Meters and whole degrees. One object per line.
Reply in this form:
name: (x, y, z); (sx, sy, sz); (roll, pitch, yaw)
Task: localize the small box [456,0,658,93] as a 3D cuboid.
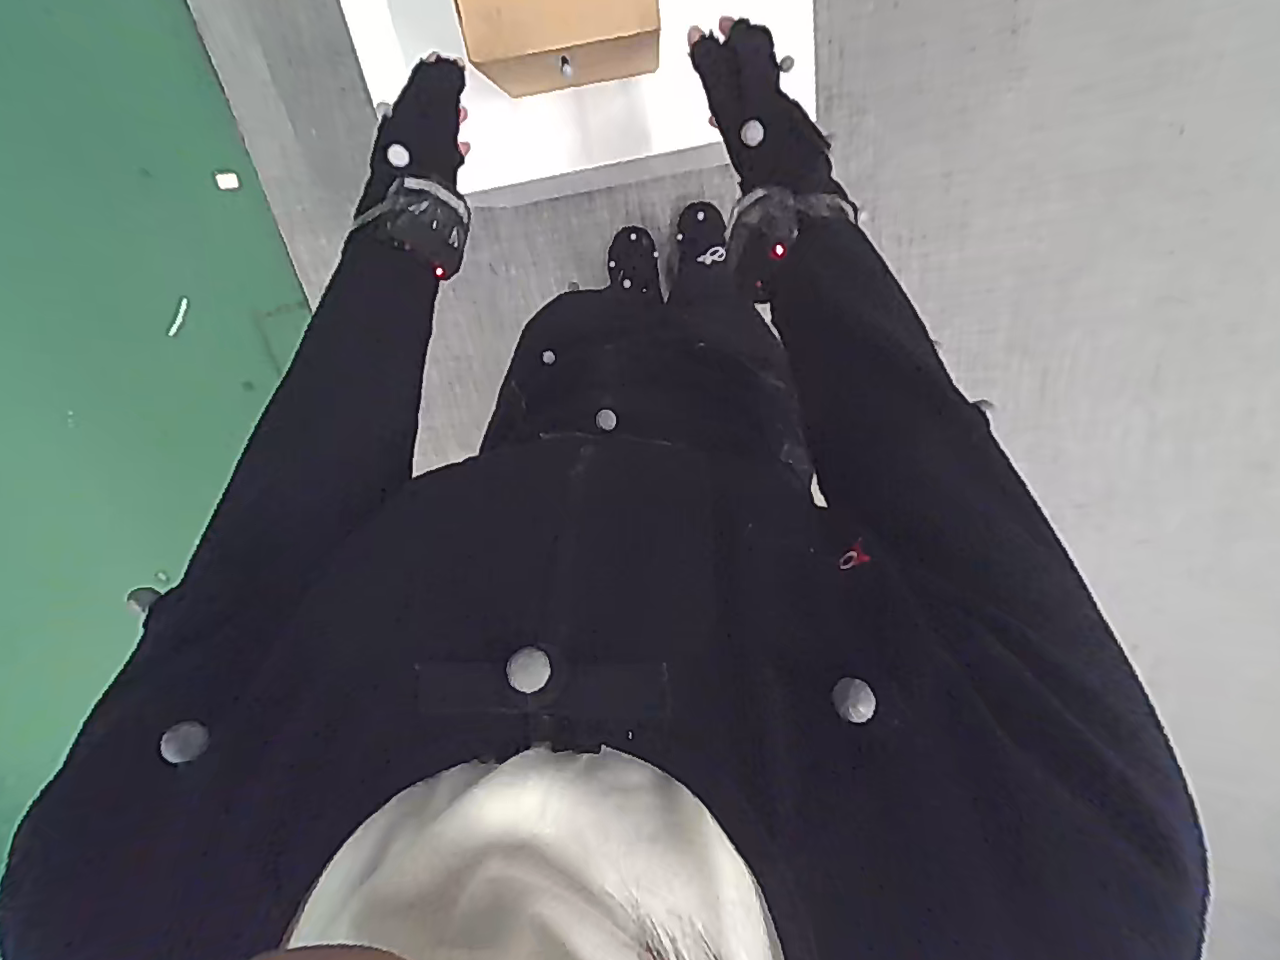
small box: (-0.077, -0.494, 0.517); (0.179, 0.176, 0.168); (-7, 117, 5)
